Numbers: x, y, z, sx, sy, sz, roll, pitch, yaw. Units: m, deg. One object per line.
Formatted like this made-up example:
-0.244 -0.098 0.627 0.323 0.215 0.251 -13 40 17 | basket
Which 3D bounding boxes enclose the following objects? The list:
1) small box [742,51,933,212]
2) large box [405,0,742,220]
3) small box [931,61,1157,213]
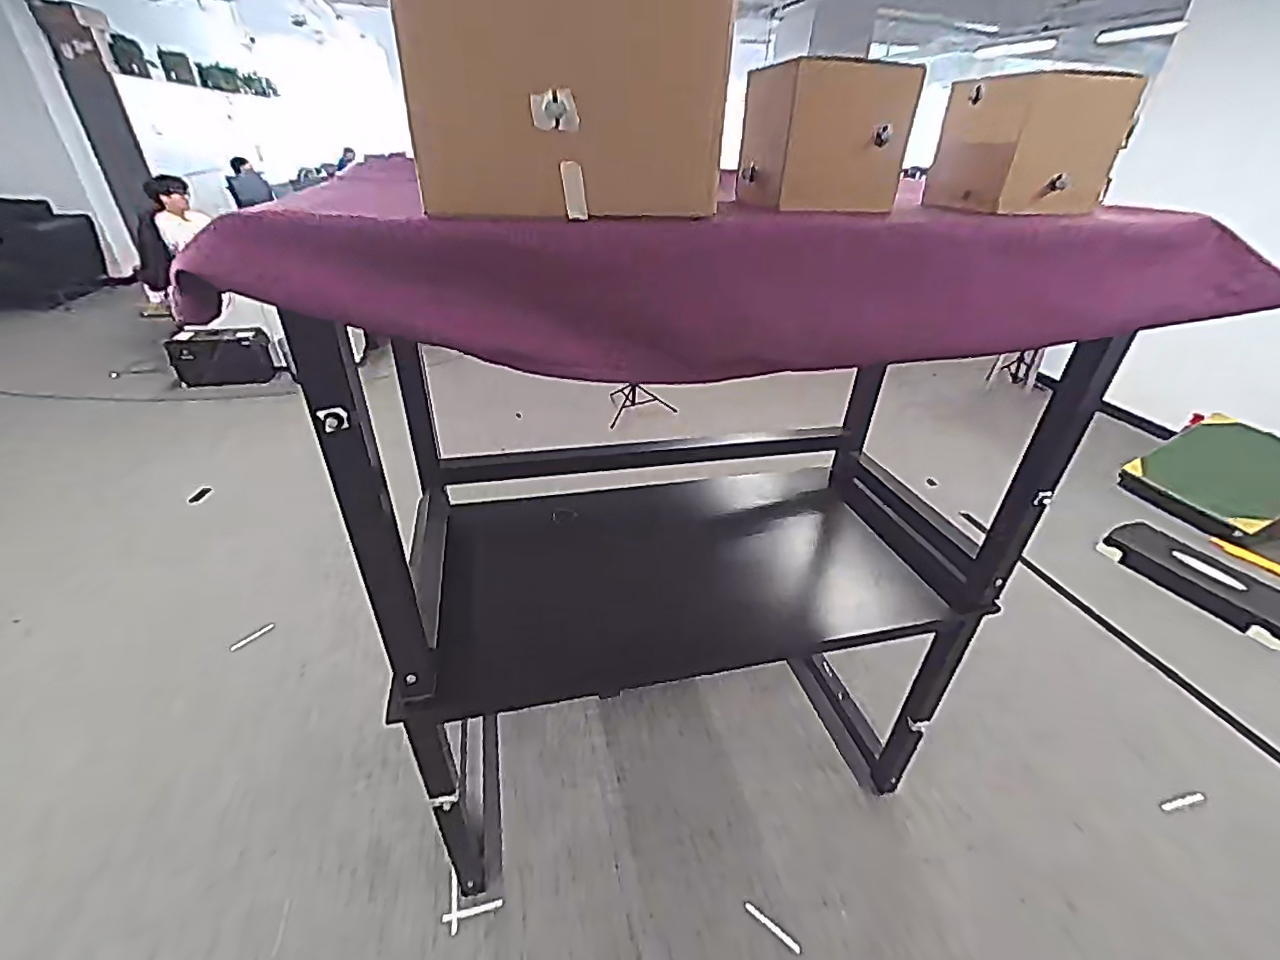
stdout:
0.258 -0.476 0.752 0.179 0.176 0.168 -5 32 -10 | small box
-0.099 -0.501 0.646 0.320 0.320 0.408 -6 32 -13 | large box
0.571 -0.495 0.793 0.179 0.176 0.168 -5 32 -11 | small box
